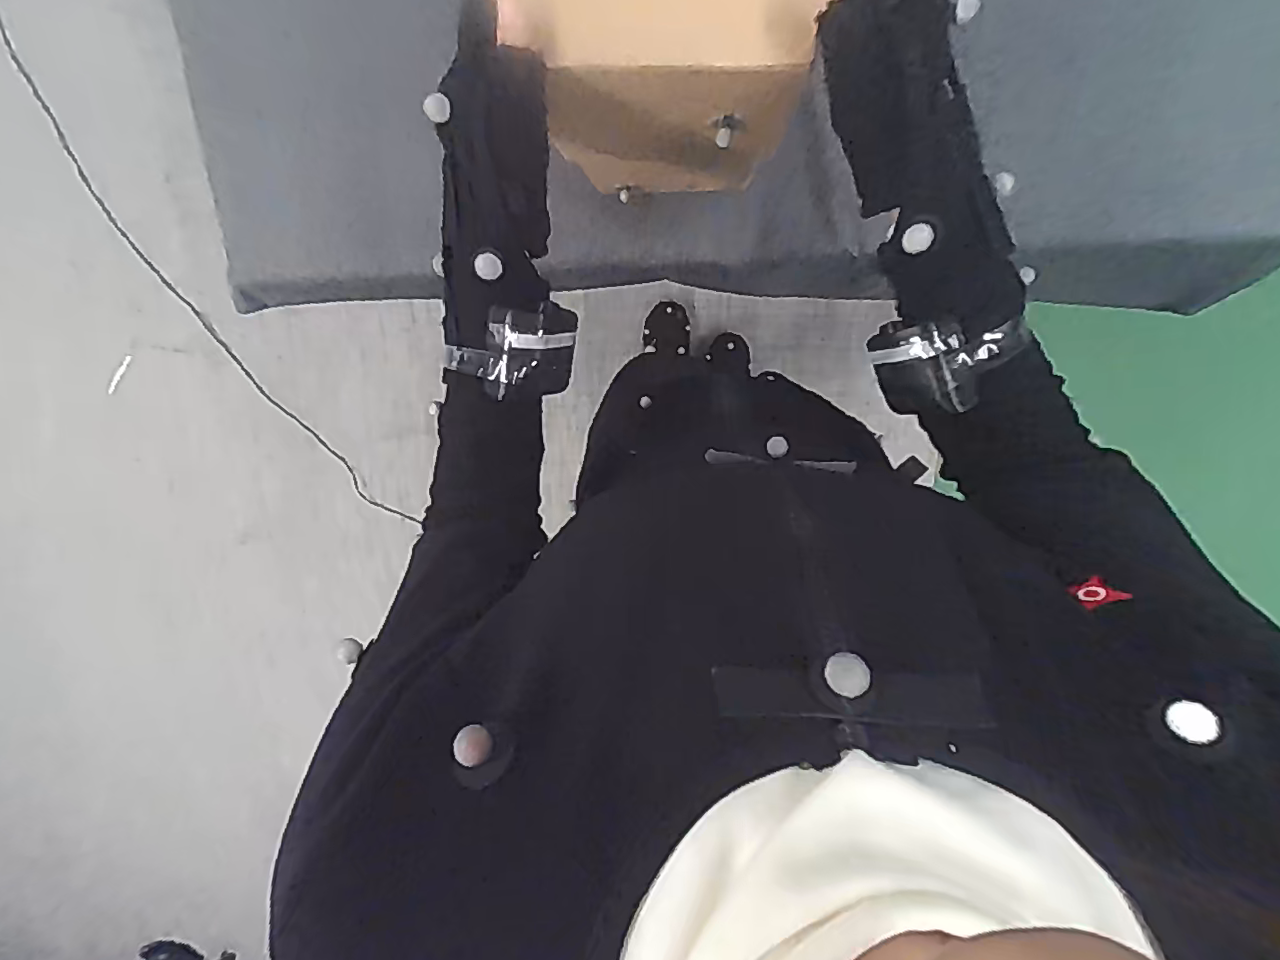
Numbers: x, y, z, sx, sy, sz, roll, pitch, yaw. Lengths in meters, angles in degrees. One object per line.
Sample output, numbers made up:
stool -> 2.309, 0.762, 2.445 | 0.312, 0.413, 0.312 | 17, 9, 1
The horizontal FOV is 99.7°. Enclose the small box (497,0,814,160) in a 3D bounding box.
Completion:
small box -> 0.015, -0.329, 0.358 | 0.179, 0.176, 0.168 | 2, 104, 6

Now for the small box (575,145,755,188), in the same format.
small box -> 0.026, -0.388, 0.509 | 0.168, 0.176, 0.179 | -2, 107, 7
